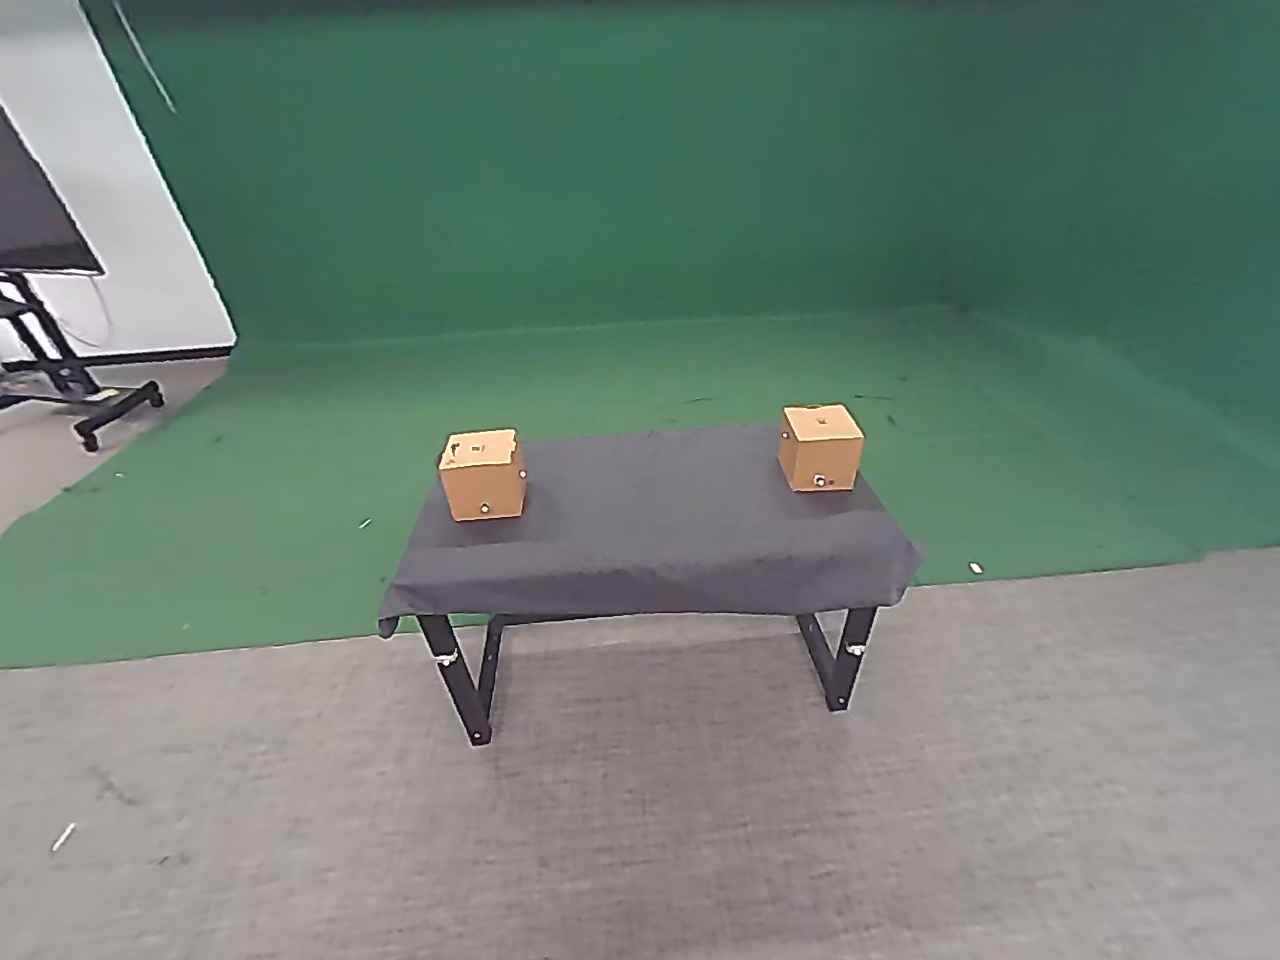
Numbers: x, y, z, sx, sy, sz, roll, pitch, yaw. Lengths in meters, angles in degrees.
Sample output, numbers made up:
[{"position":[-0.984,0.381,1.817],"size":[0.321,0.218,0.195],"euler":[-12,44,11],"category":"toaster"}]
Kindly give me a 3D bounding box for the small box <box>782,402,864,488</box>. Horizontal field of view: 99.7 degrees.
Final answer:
[{"position":[0.484,-0.095,1.457],"size":[0.168,0.176,0.179],"euler":[-3,36,4],"category":"small box"}]

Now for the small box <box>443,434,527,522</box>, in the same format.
[{"position":[-0.399,-0.004,1.428],"size":[0.179,0.176,0.168],"euler":[-4,35,-3],"category":"small box"}]
